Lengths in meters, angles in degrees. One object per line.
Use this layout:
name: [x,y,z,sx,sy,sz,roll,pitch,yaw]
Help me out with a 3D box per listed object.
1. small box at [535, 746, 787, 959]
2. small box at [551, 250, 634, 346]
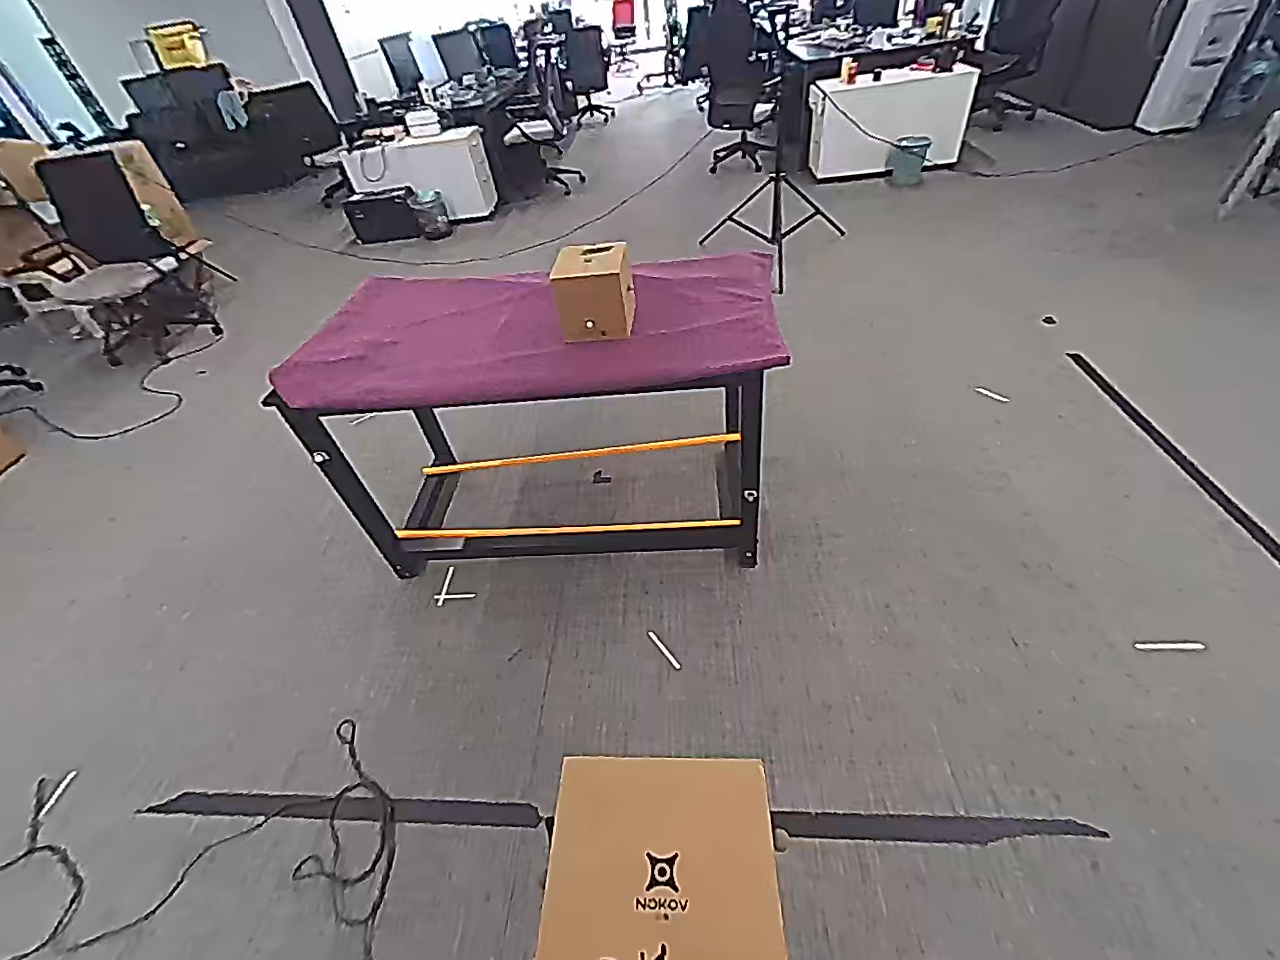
small box: [0.021,0.340,0.435,0.168,0.176,0.179,-2,40,5]
small box: [-0.109,-0.448,1.335,0.168,0.176,0.179,-2,44,8]
